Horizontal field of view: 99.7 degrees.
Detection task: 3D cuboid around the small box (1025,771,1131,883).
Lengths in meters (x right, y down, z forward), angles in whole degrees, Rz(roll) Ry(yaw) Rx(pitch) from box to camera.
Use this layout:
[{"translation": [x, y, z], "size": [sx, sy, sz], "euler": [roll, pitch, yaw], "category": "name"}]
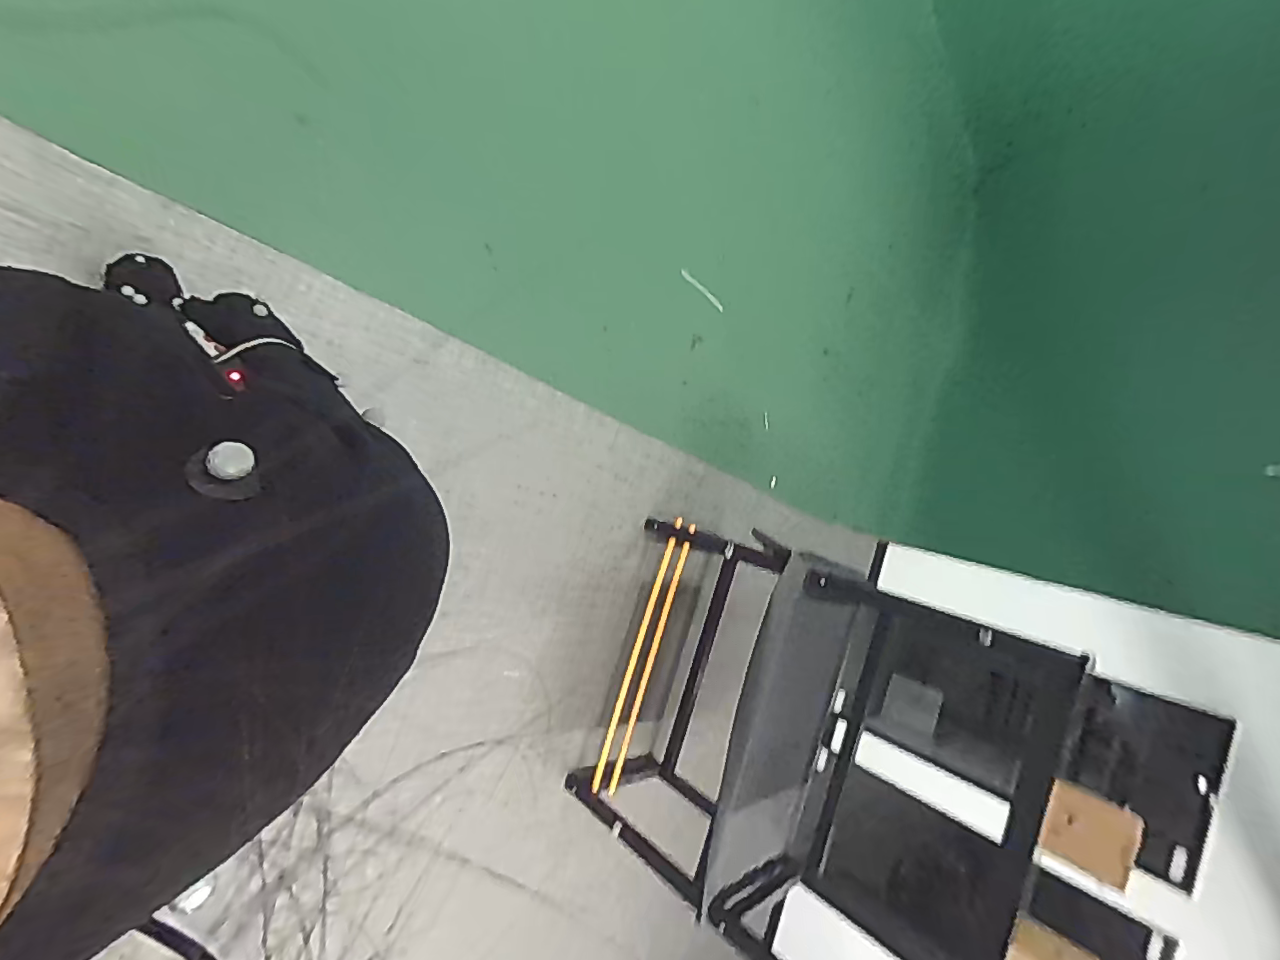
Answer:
[{"translation": [1.079, 0.845, 1.338], "size": [0.179, 0.176, 0.168], "euler": [32, 78, -46], "category": "small box"}]
